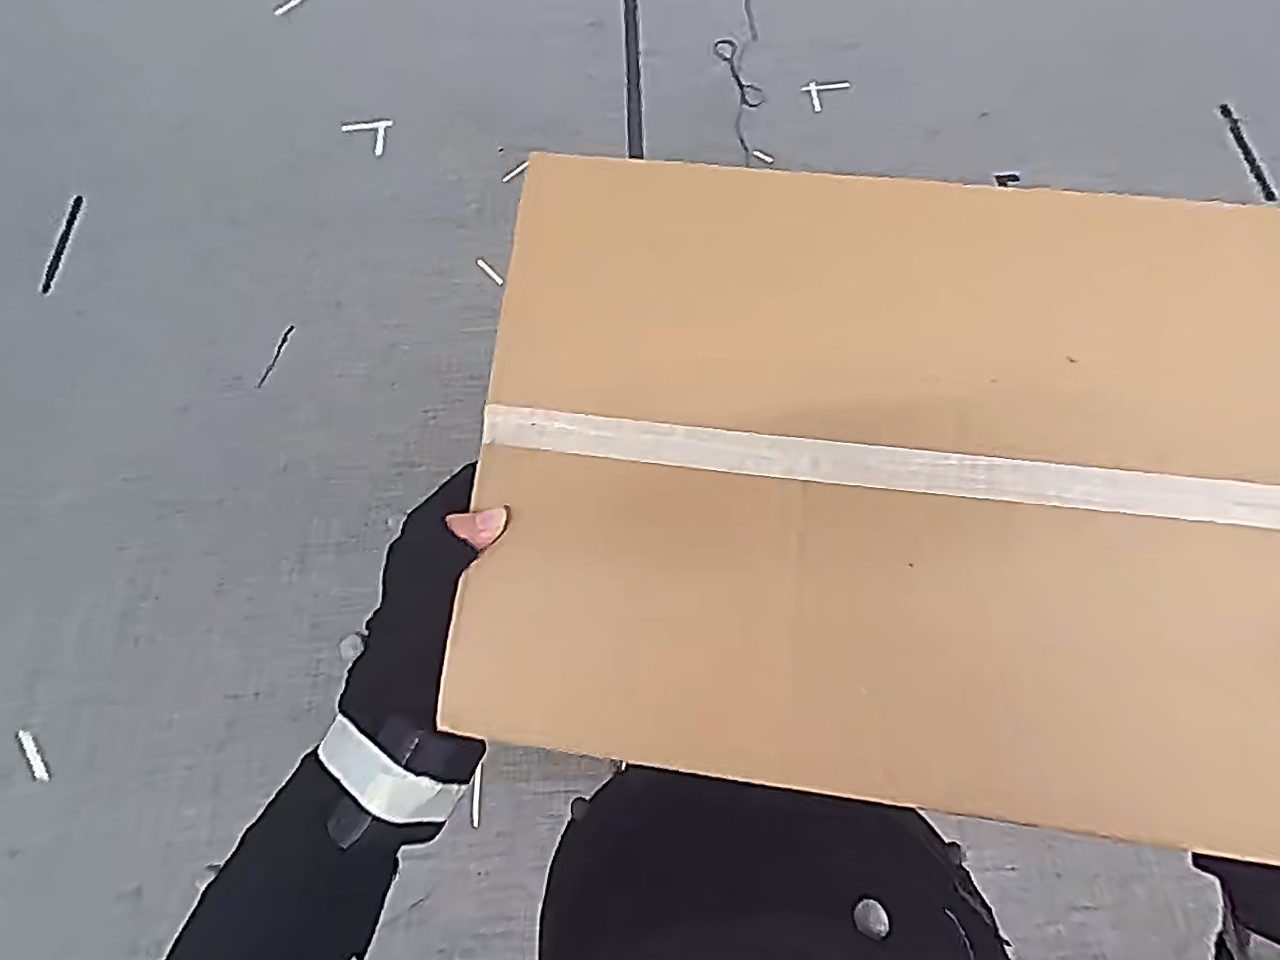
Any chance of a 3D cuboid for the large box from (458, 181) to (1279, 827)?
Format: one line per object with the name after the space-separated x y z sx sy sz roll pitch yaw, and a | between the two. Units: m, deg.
0.128 0.013 0.429 0.408 0.320 0.320 6 82 4 | large box
